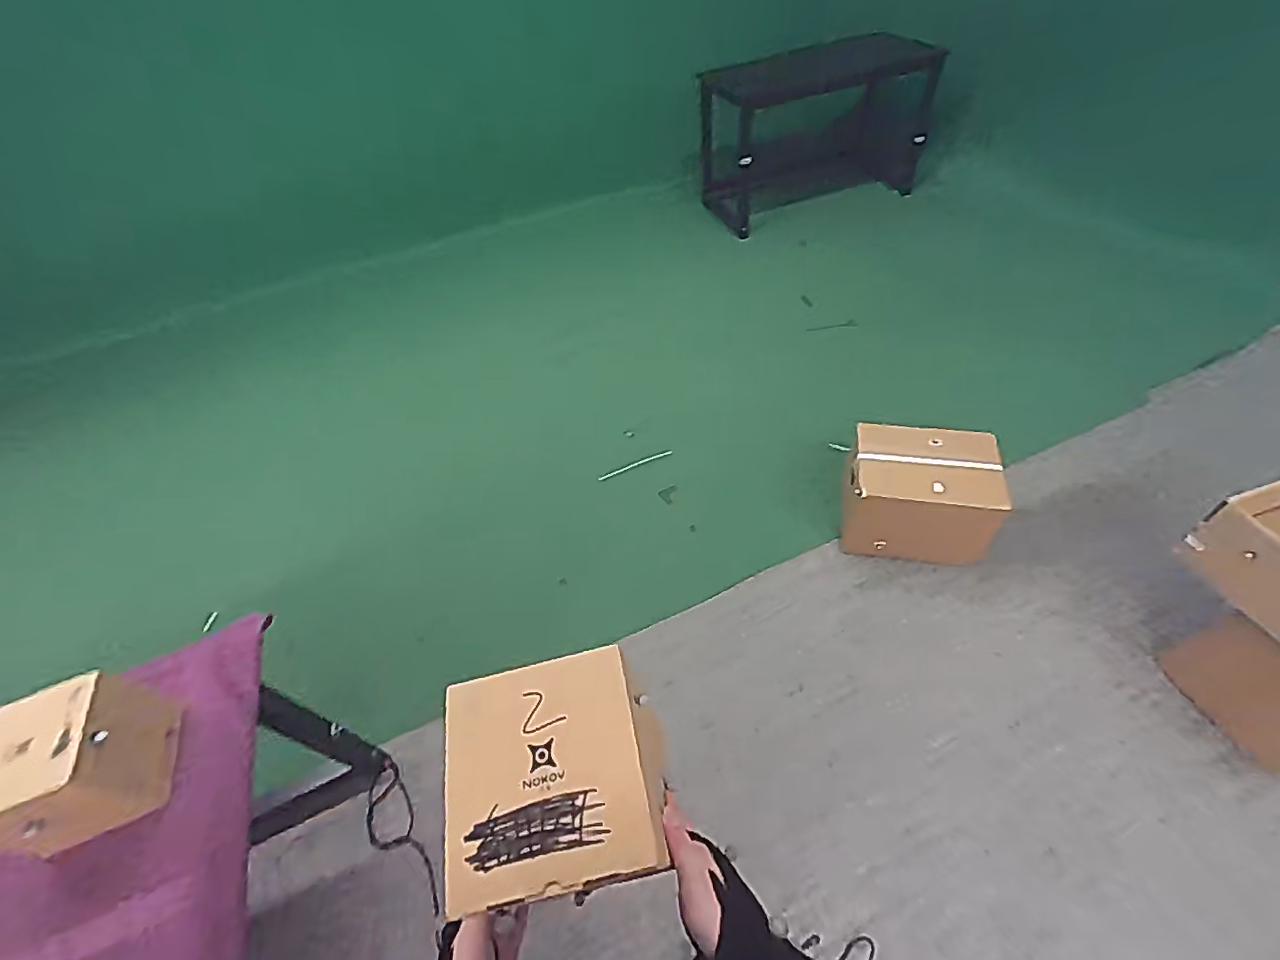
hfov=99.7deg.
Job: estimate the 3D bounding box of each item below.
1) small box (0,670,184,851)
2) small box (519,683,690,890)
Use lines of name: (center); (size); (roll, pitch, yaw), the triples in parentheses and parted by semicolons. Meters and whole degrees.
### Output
small box: (-0.834, 0.416, 0.793); (0.179, 0.176, 0.168); (-22, 52, -8)
small box: (-0.038, 0.368, 0.651); (0.168, 0.176, 0.179); (-12, 54, 0)
